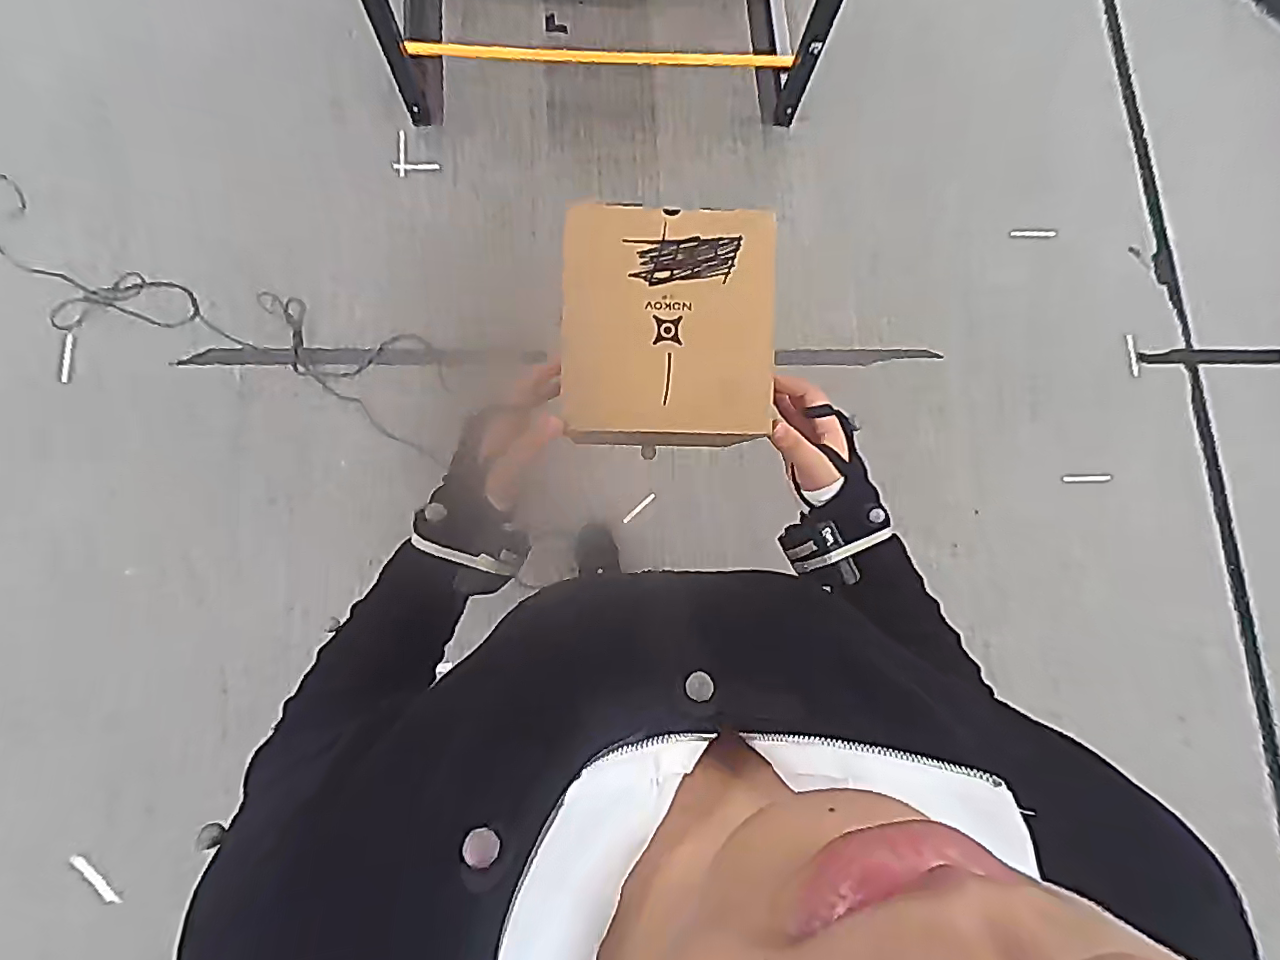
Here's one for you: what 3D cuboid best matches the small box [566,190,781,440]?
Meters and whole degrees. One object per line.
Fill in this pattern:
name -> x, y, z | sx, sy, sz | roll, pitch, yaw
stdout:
small box -> 0.022, -0.132, 0.494 | 0.168, 0.176, 0.179 | 1, 91, -2
